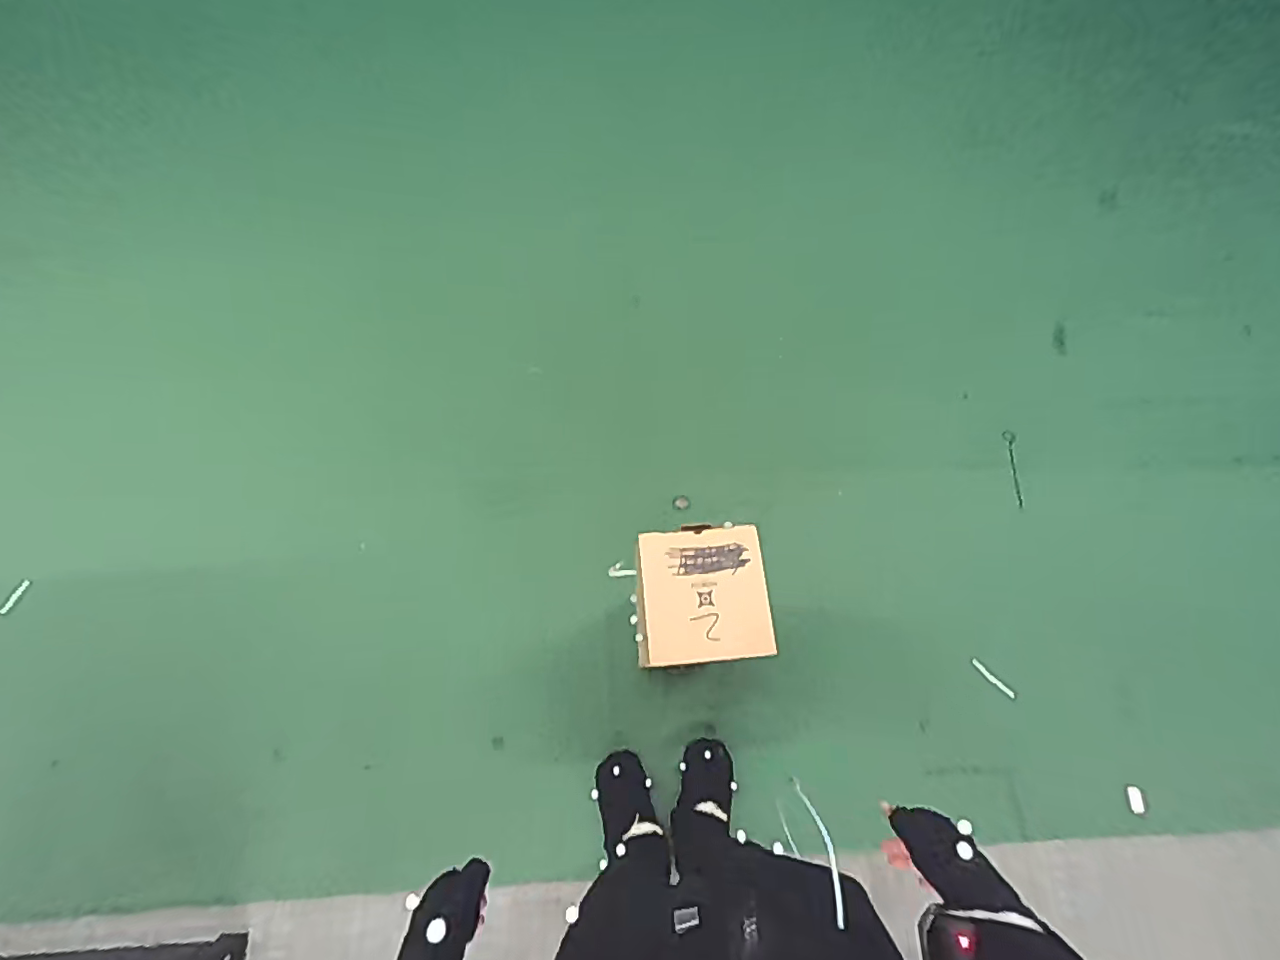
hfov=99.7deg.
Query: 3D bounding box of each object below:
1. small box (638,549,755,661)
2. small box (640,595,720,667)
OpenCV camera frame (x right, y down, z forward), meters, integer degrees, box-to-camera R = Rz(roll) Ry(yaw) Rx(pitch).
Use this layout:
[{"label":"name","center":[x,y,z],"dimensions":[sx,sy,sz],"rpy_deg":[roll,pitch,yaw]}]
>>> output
[{"label":"small box","center":[0.090,0.224,0.947],"dimensions":[0.179,0.176,0.168],"rpy_deg":[-4,70,-2]},{"label":"small box","center":[0.085,0.336,1.254],"dimensions":[0.168,0.176,0.179],"rpy_deg":[-3,71,-1]}]
